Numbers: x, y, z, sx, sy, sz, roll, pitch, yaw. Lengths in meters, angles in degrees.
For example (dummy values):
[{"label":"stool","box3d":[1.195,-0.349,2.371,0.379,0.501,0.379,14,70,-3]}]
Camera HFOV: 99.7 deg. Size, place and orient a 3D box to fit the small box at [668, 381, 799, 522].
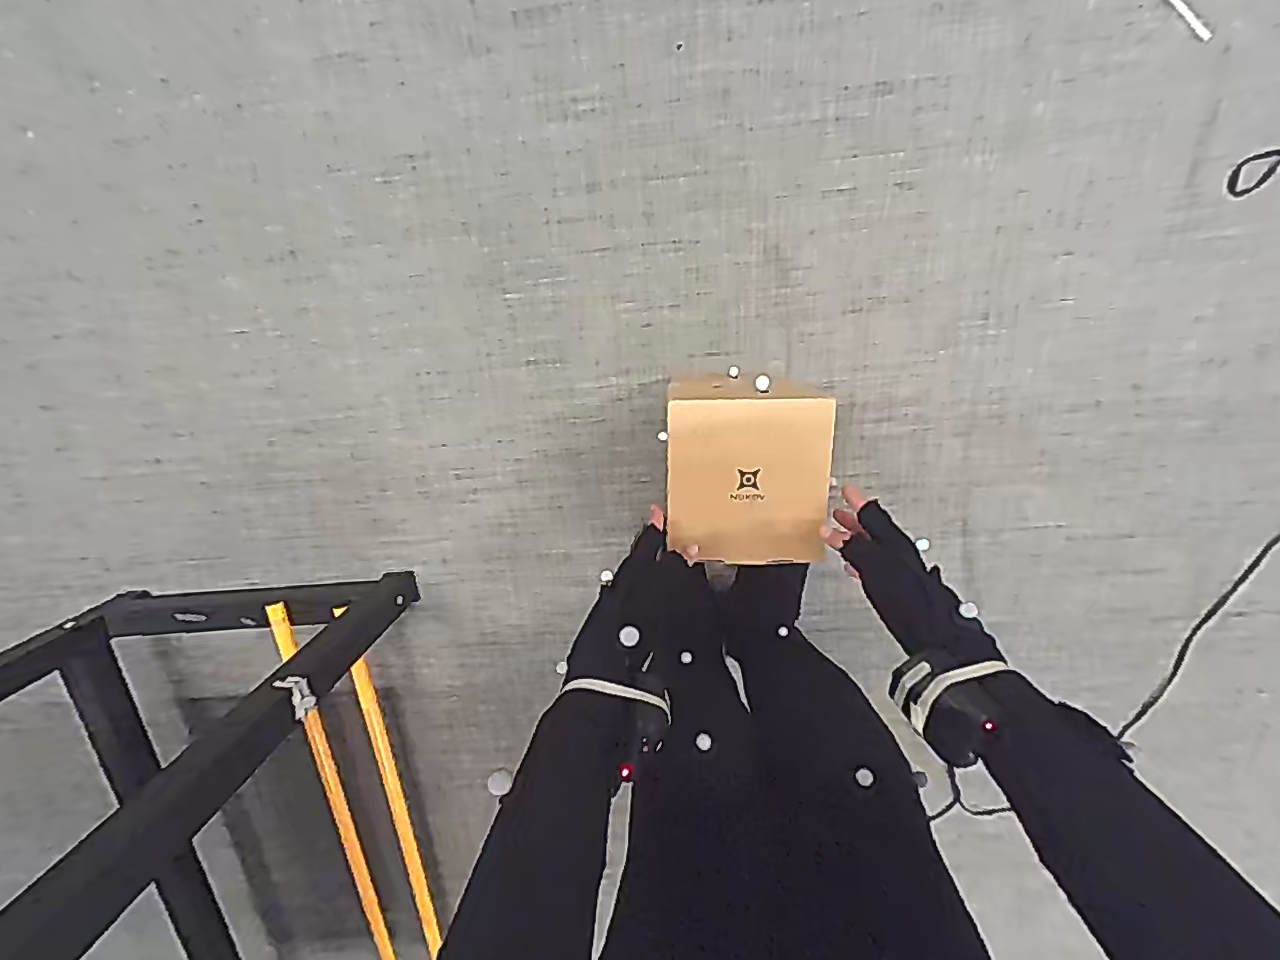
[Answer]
[{"label":"small box","box3d":[0.125,-0.050,0.789,0.168,0.176,0.179,1,106,4]}]
